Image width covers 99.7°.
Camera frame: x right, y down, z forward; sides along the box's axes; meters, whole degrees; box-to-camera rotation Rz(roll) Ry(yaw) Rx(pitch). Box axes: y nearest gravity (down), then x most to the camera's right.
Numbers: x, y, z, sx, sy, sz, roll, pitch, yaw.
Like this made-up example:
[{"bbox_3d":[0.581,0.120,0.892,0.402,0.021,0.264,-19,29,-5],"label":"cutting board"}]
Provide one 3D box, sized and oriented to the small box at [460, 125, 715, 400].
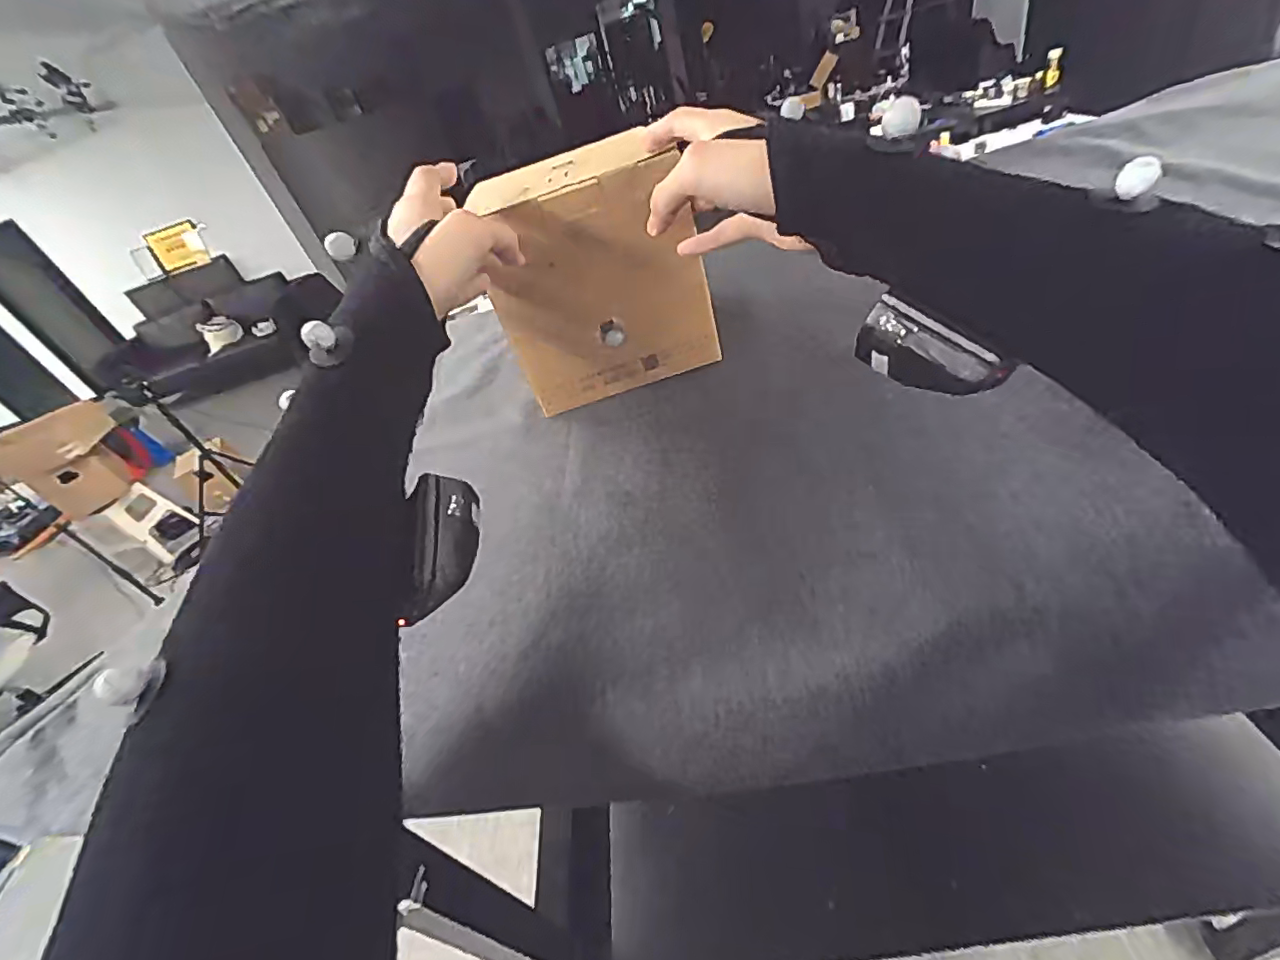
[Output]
[{"bbox_3d":[-0.040,-0.199,0.495,0.168,0.176,0.179,-17,38,3],"label":"small box"}]
